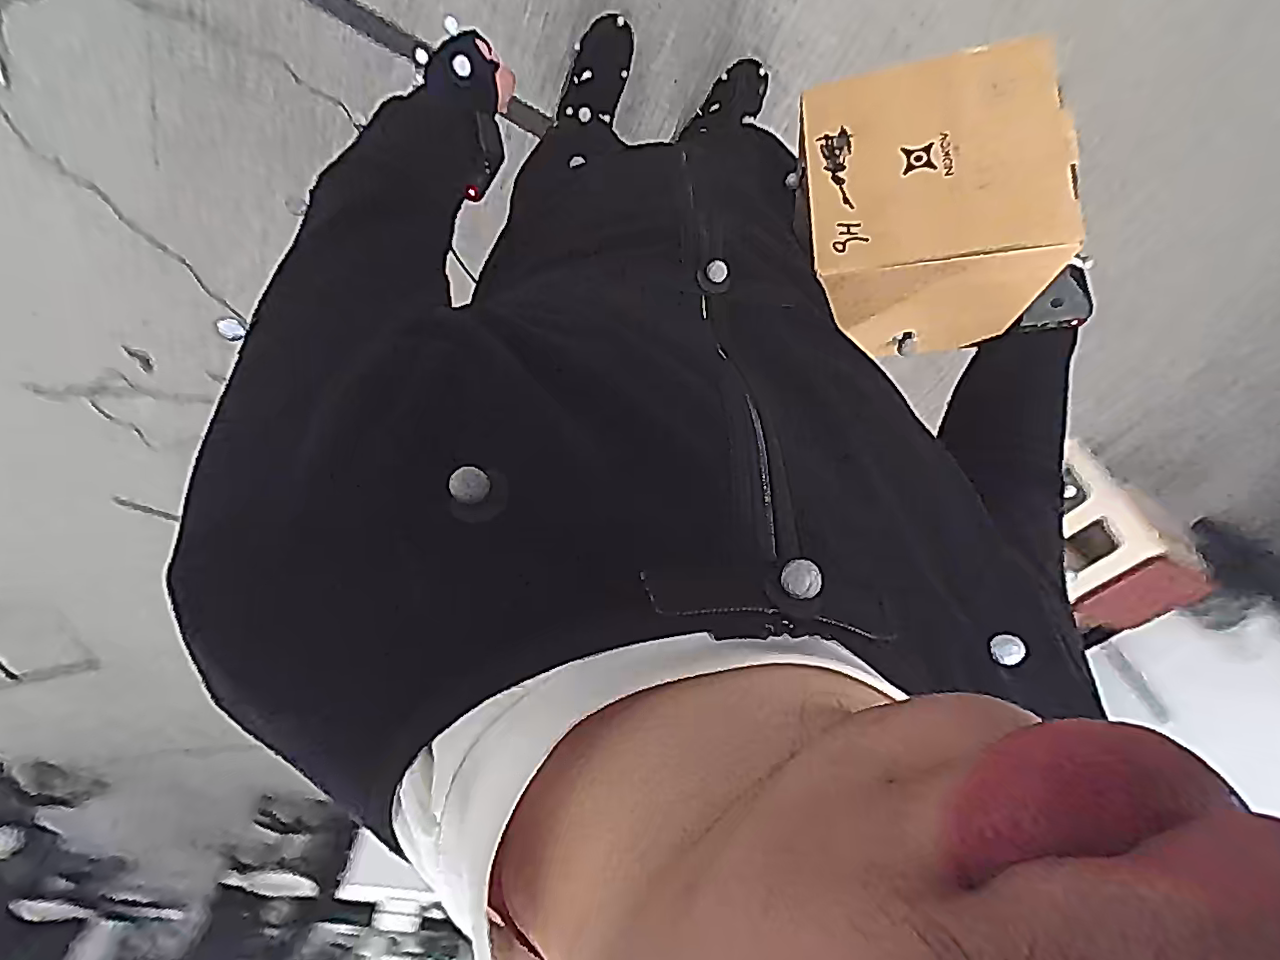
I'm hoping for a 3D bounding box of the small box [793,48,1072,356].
[{"bbox_3d":[0.238,-0.228,0.490,0.179,0.168,0.176,-4,168,14],"label":"small box"}]
